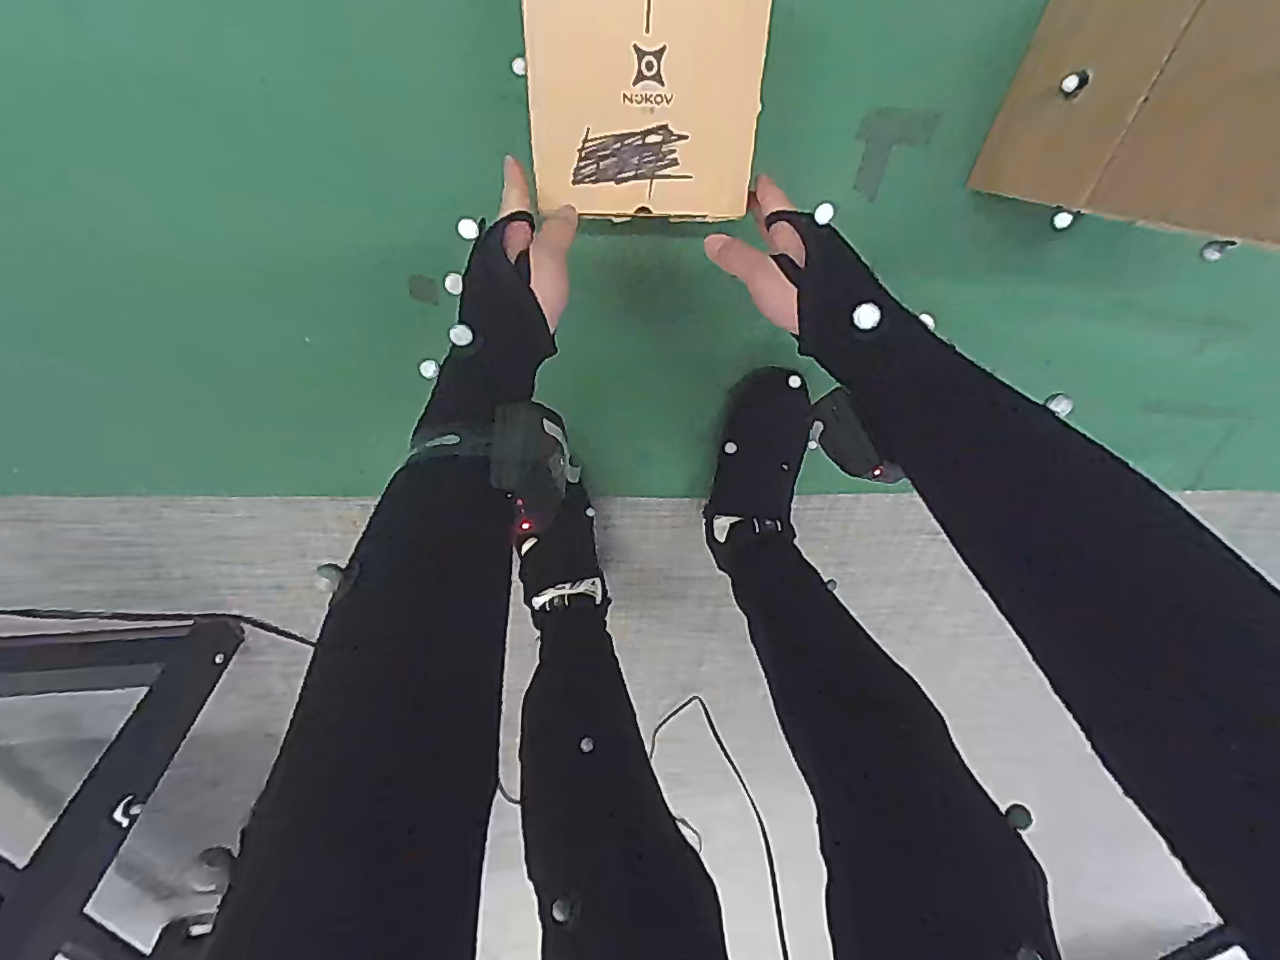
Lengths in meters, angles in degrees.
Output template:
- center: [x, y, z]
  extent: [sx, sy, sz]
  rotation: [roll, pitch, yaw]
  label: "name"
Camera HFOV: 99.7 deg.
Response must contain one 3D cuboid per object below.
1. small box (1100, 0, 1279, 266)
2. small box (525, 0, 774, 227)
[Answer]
- center: [0.476, -0.239, 0.357]
  extent: [0.168, 0.176, 0.179]
  rotation: [6, 124, -11]
  label: "small box"
- center: [-0.002, -0.319, 0.443]
  extent: [0.168, 0.176, 0.179]
  rotation: [-1, 124, -6]
  label: "small box"
